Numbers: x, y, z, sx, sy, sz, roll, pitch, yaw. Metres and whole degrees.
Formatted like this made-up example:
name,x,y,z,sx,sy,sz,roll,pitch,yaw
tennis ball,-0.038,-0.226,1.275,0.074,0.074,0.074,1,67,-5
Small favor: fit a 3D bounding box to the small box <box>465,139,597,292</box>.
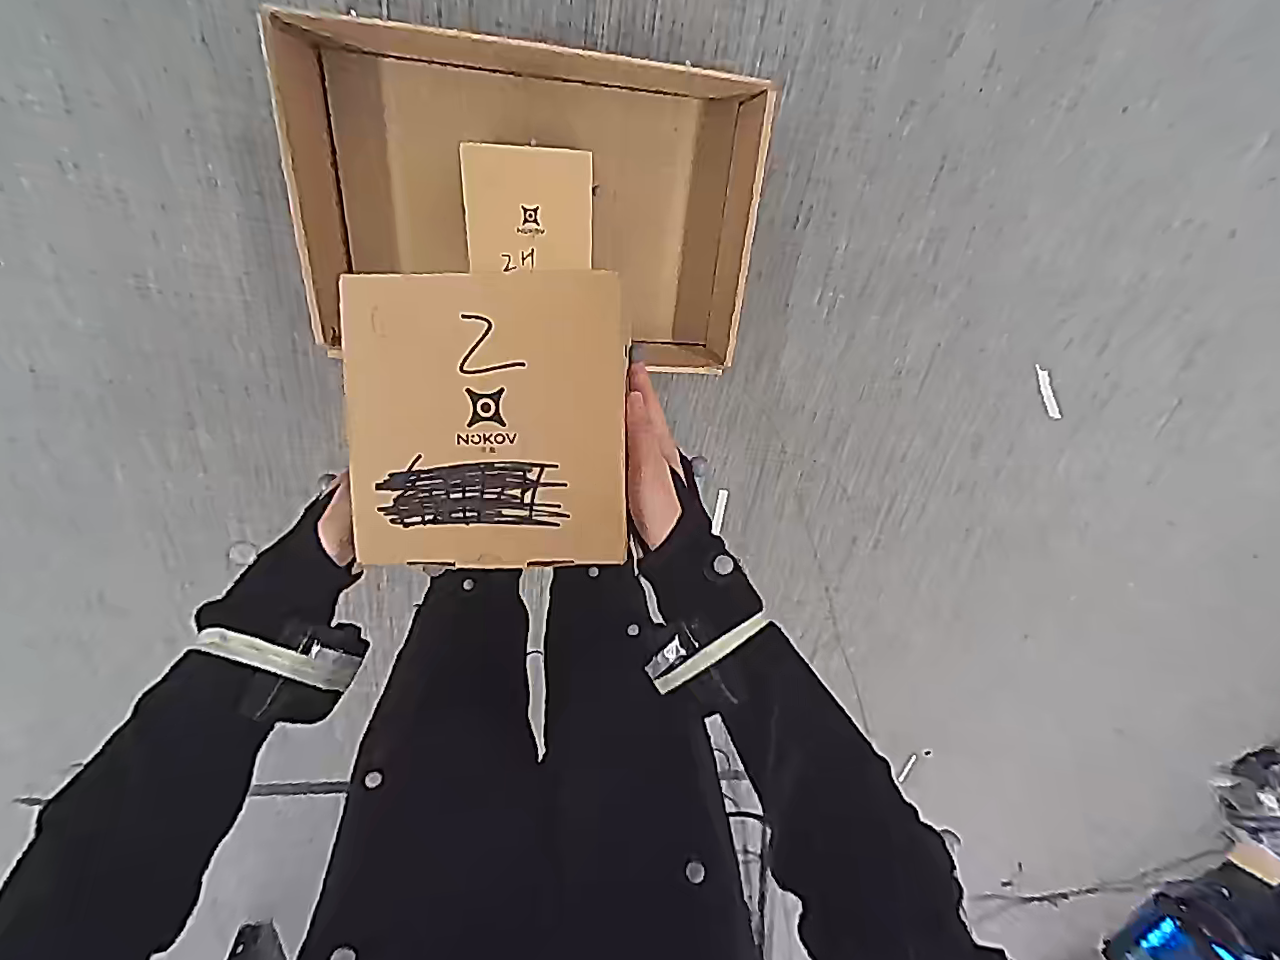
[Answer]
name,x,y,z,sx,sy,sz,roll,pitch,yaw
small box,-0.154,-0.378,0.783,0.168,0.176,0.179,-1,118,-9
